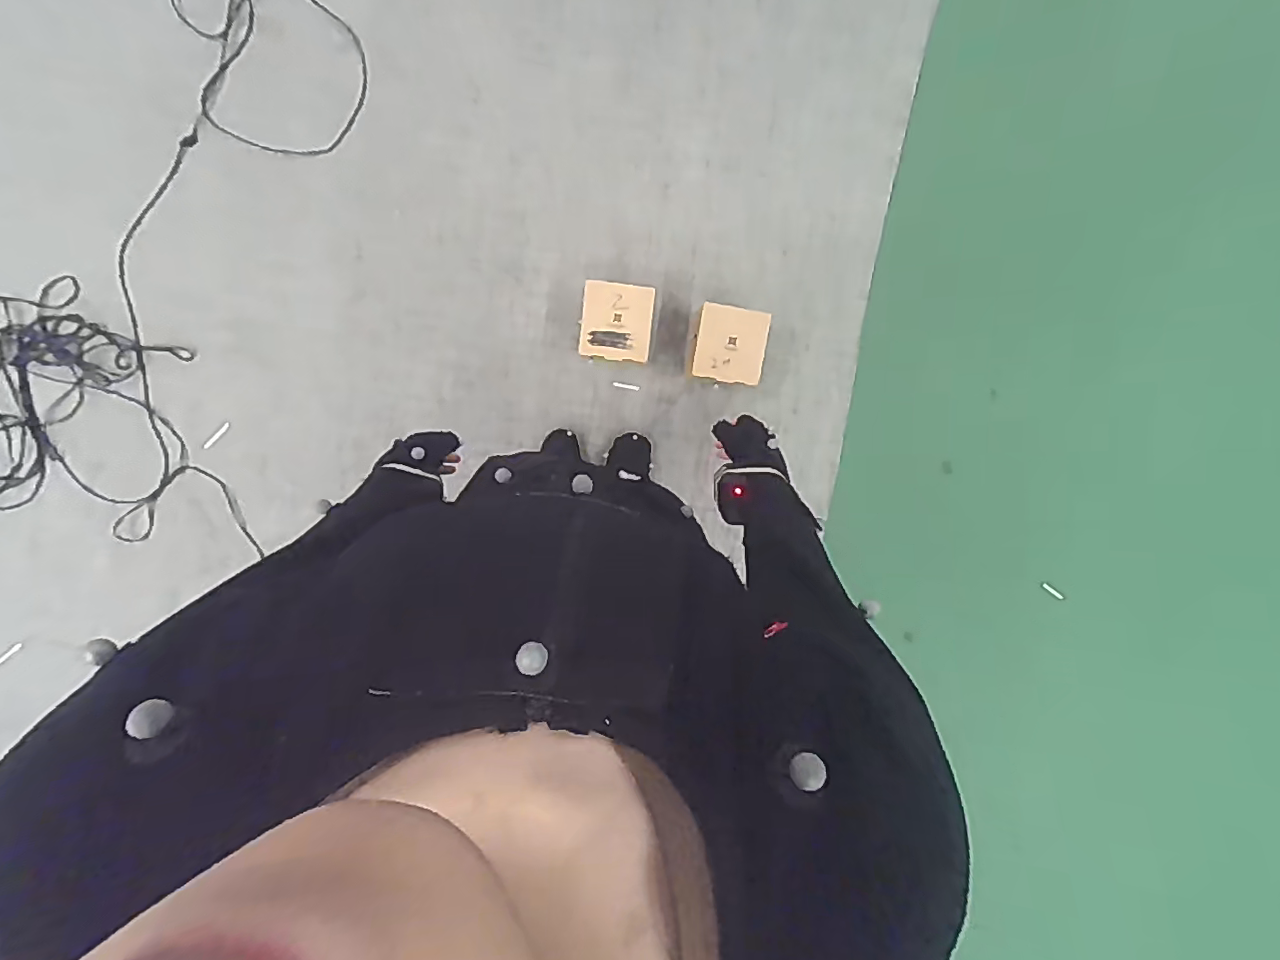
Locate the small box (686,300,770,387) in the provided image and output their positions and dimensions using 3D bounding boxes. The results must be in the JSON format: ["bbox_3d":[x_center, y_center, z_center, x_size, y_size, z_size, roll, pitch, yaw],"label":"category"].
[{"bbox_3d":[0.215,-0.338,1.371,0.168,0.176,0.179,9,98,-3],"label":"small box"}]
